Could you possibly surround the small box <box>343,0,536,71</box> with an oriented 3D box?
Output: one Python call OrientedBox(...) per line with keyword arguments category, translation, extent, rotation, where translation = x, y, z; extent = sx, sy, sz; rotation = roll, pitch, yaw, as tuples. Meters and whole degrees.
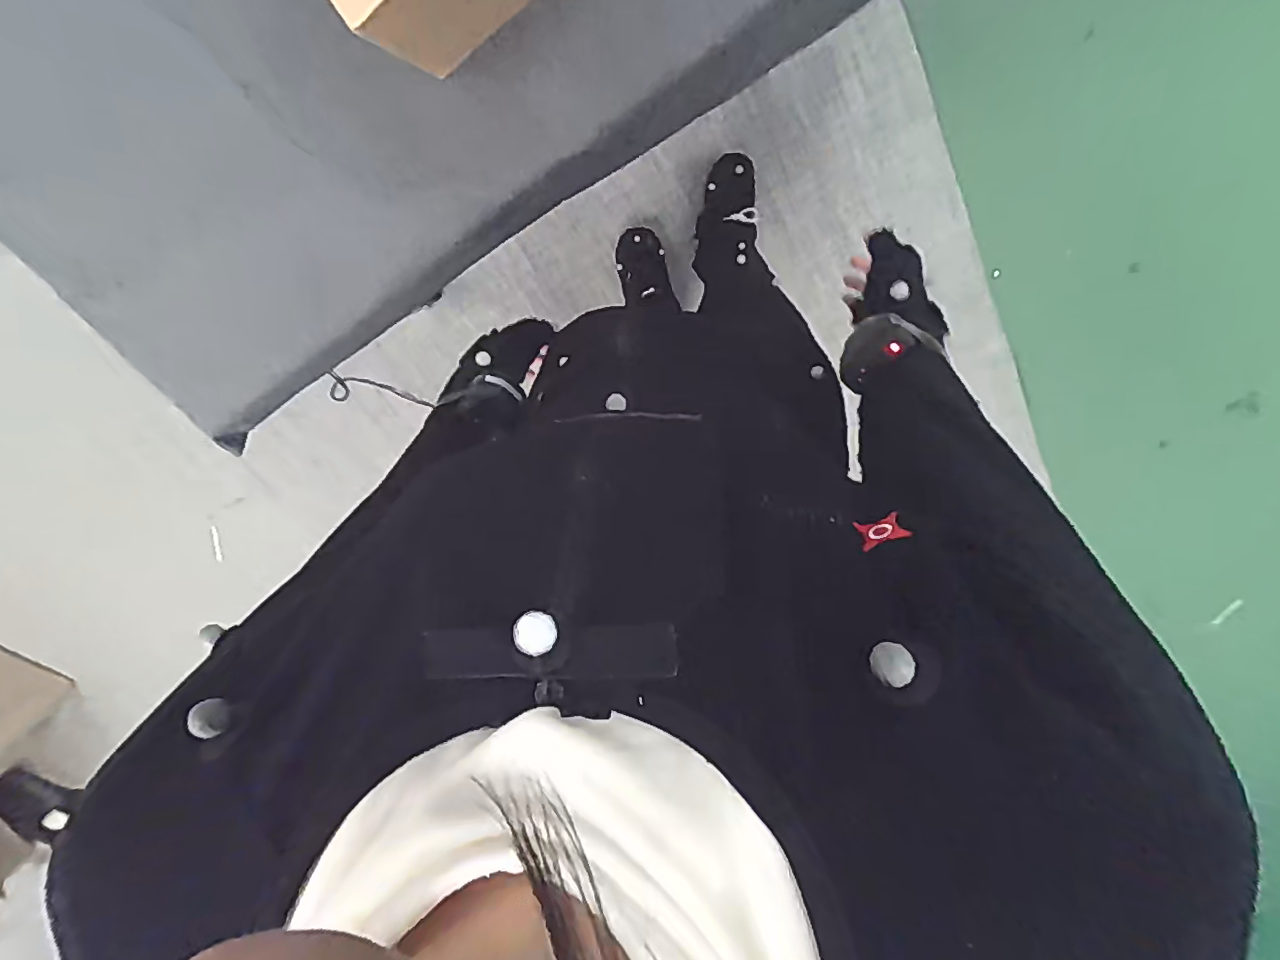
OrientedBox(category="small box", translation=(-0.160, -0.451, 0.396), extent=(0.179, 0.176, 0.168), rotation=(-29, 111, 18))
